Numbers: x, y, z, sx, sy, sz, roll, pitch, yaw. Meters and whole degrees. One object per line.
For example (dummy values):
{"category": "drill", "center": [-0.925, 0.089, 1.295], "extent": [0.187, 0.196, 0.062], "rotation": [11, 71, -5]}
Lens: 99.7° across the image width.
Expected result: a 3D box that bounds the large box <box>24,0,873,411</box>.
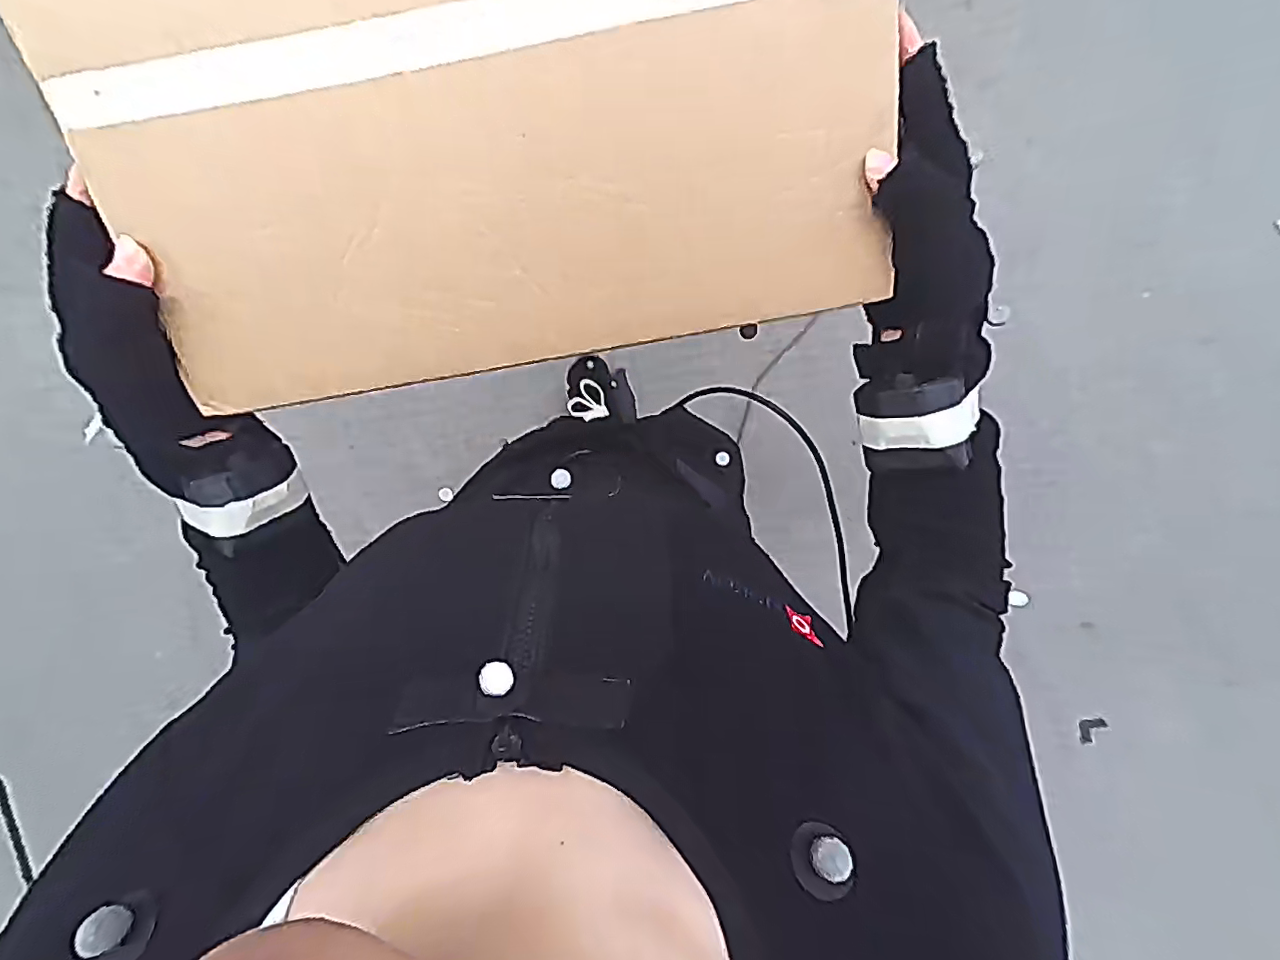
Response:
{"category": "large box", "center": [-0.088, -0.272, 0.403], "extent": [0.408, 0.320, 0.320], "rotation": [-10, 111, 2]}
